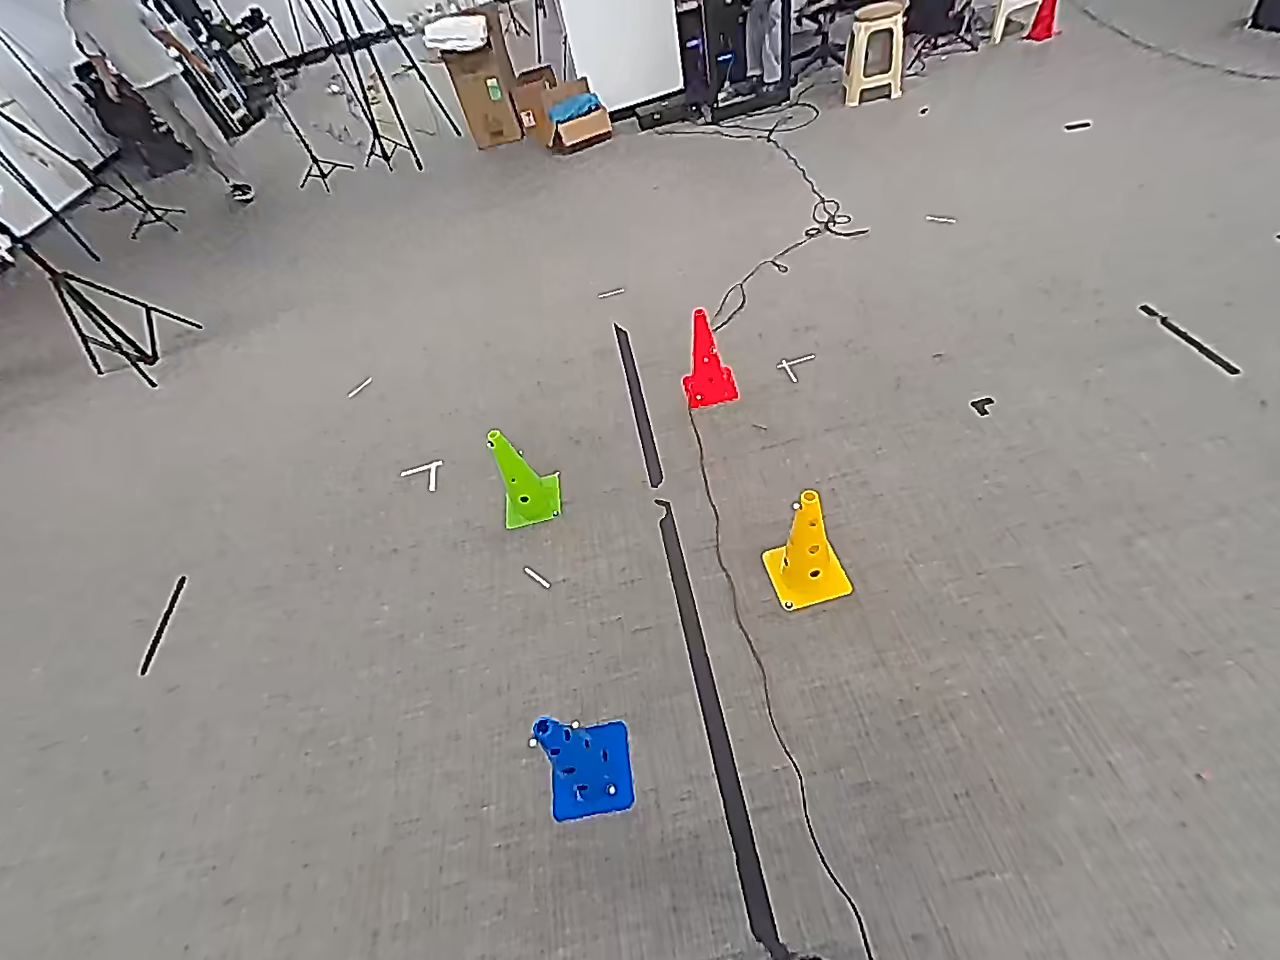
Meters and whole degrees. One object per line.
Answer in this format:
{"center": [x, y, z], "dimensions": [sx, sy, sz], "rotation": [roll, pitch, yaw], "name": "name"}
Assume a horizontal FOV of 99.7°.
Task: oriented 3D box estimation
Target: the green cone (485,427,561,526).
{"center": [-0.419, -0.043, 1.811], "dimensions": [0.202, 0.368, 0.200], "rotation": [-15, 49, 4], "name": "green cone"}

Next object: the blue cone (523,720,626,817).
{"center": [-0.166, 0.609, 1.215], "dimensions": [0.192, 0.380, 0.193], "rotation": [-12, 49, 6], "name": "blue cone"}

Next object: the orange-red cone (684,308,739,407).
{"center": [0.245, -0.474, 1.999], "dimensions": [0.199, 0.360, 0.198], "rotation": [-10, 50, 5], "name": "orange-red cone"}
